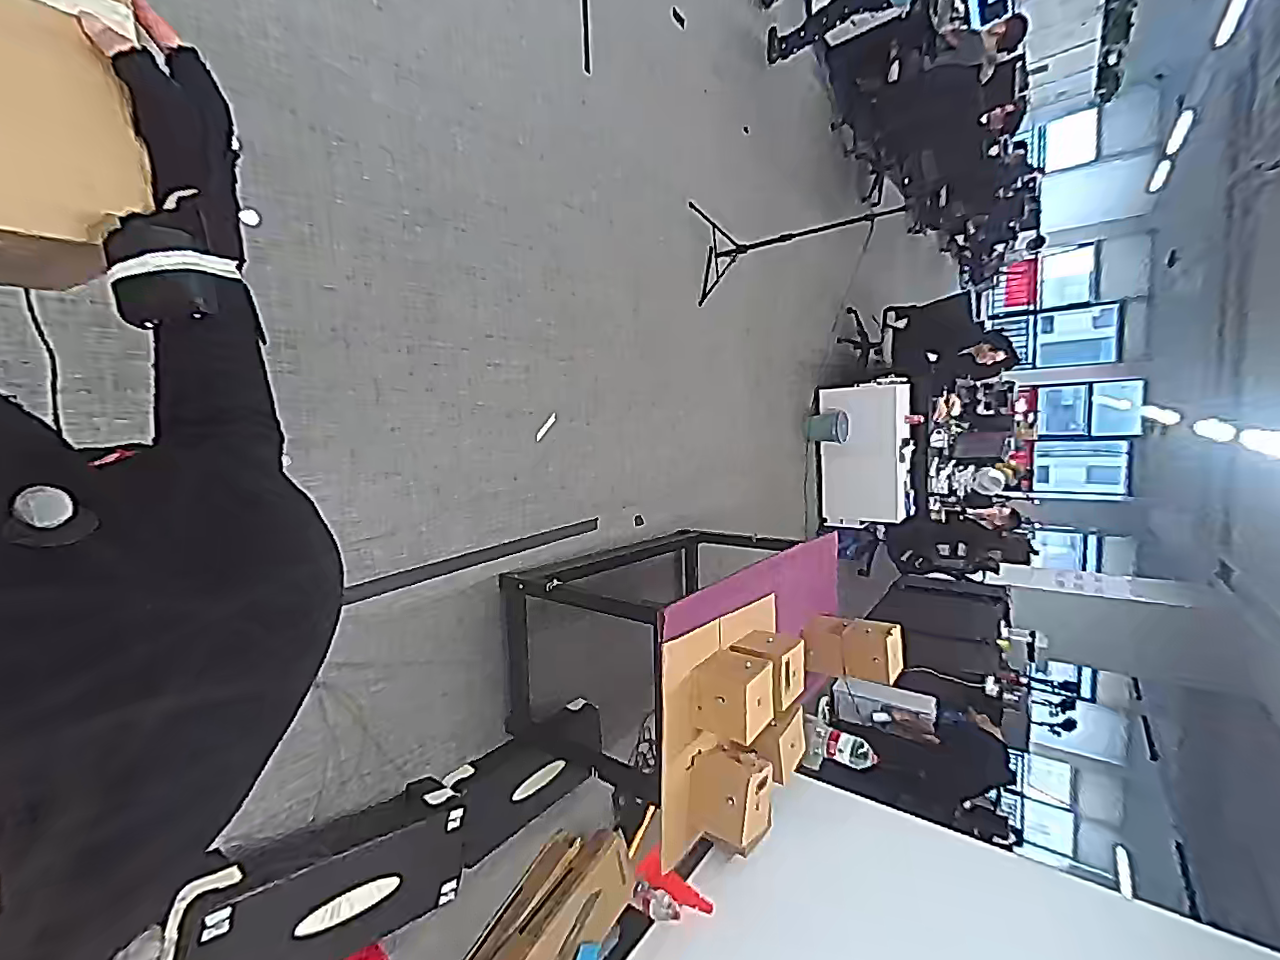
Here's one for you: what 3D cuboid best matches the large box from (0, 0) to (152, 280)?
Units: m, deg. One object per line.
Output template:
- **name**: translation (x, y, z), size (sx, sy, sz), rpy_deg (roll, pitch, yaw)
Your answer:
- **large box**: translation (-0.614, -0.322, 0.317), size (0.408, 0.320, 0.320), rpy_deg (-12, 107, -55)
